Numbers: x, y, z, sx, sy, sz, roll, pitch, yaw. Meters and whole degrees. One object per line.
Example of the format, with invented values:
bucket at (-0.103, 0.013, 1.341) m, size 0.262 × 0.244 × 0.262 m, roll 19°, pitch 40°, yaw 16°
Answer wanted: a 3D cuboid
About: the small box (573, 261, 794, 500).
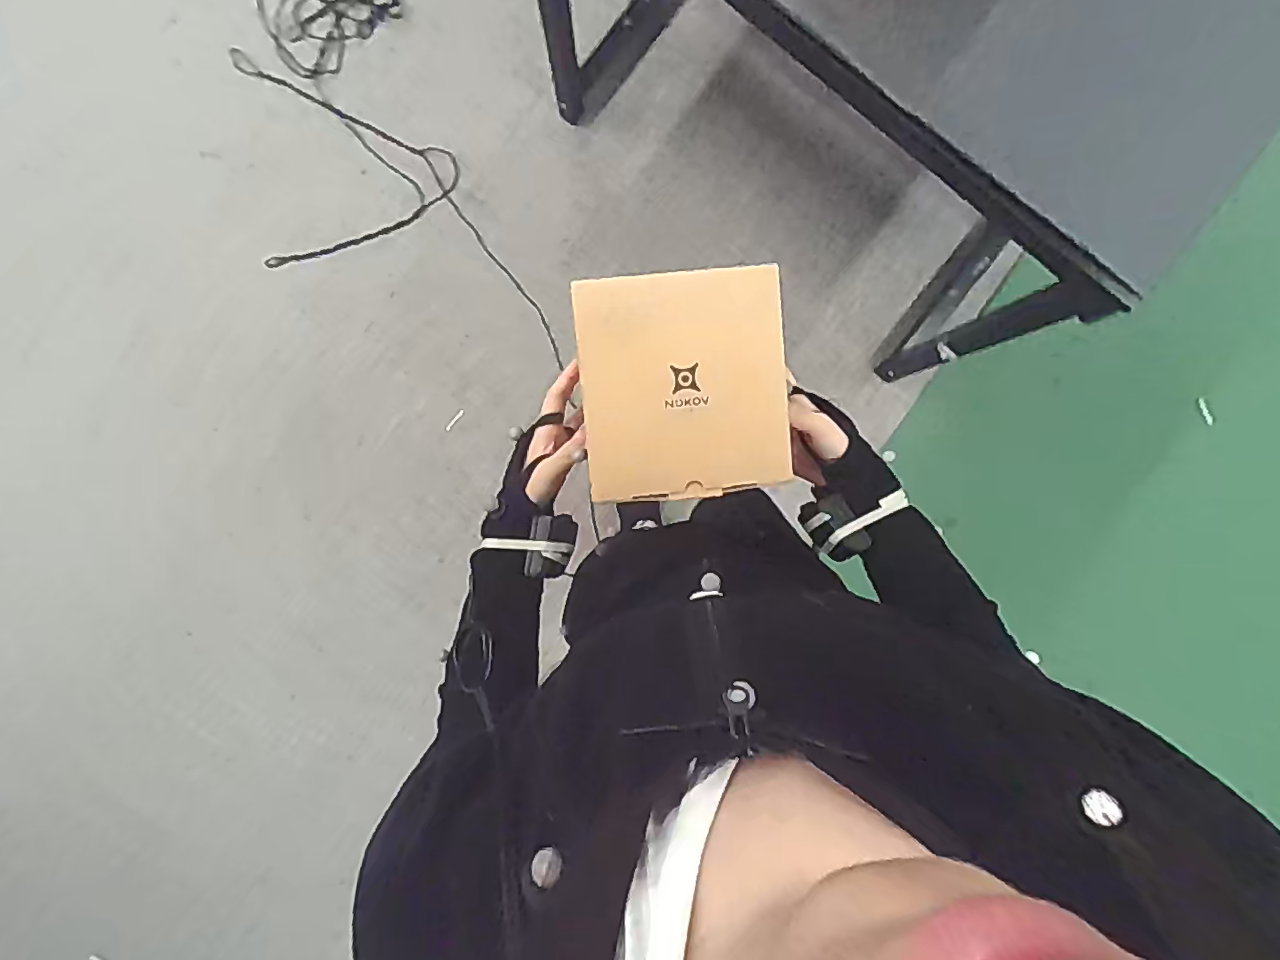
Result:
small box at (0.029, -0.083, 0.500) m, size 0.168 × 0.176 × 0.179 m, roll -6°, pitch 95°, yaw -4°
